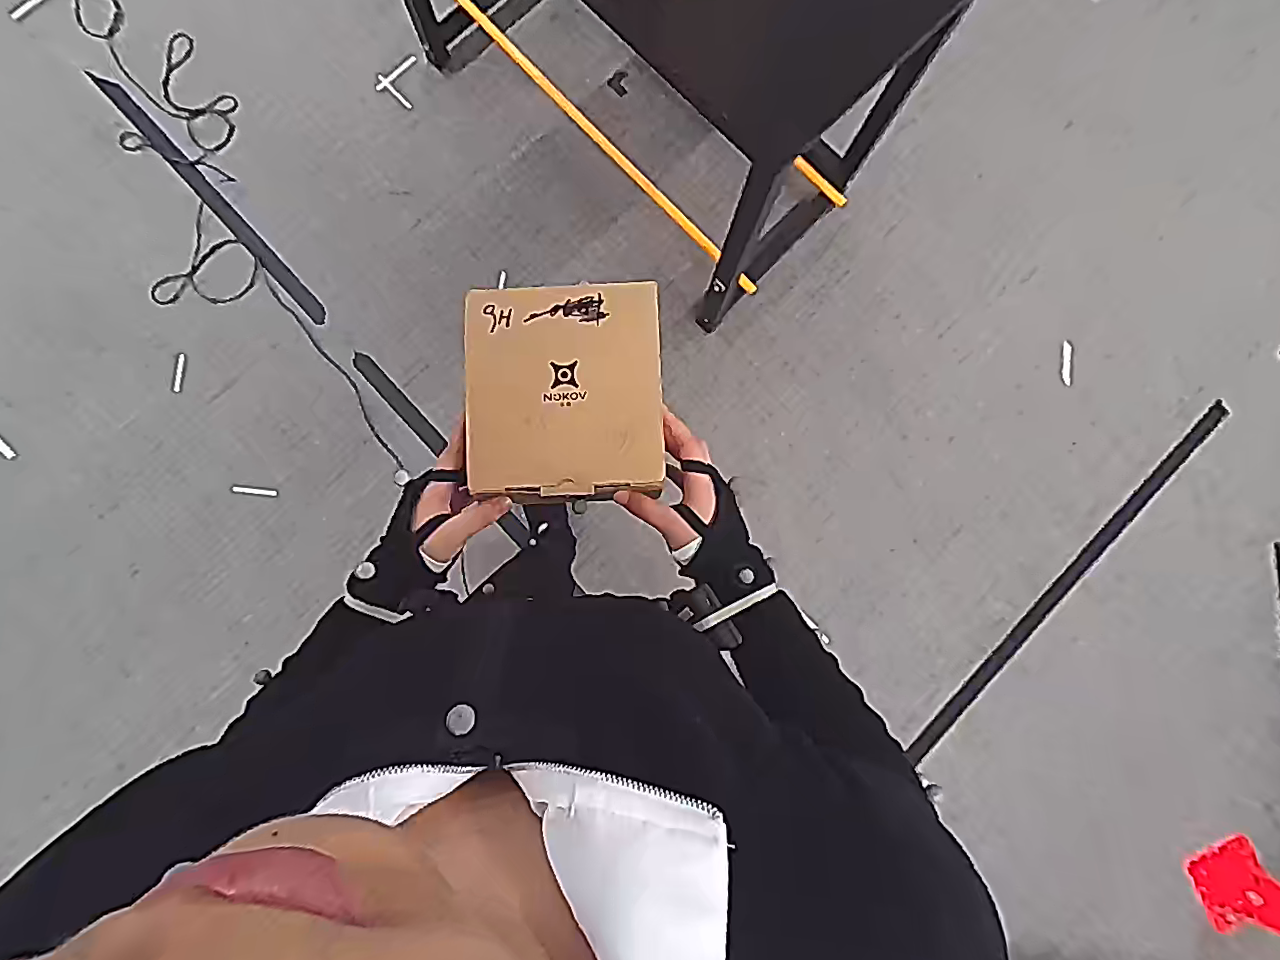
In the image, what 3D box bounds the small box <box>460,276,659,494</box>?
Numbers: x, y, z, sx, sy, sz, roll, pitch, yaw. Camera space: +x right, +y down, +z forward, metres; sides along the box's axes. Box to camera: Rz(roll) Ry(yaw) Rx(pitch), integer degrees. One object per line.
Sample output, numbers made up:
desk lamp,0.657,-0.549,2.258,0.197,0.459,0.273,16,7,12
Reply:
small box,-0.066,-0.077,0.530,0.168,0.176,0.179,-3,86,0
